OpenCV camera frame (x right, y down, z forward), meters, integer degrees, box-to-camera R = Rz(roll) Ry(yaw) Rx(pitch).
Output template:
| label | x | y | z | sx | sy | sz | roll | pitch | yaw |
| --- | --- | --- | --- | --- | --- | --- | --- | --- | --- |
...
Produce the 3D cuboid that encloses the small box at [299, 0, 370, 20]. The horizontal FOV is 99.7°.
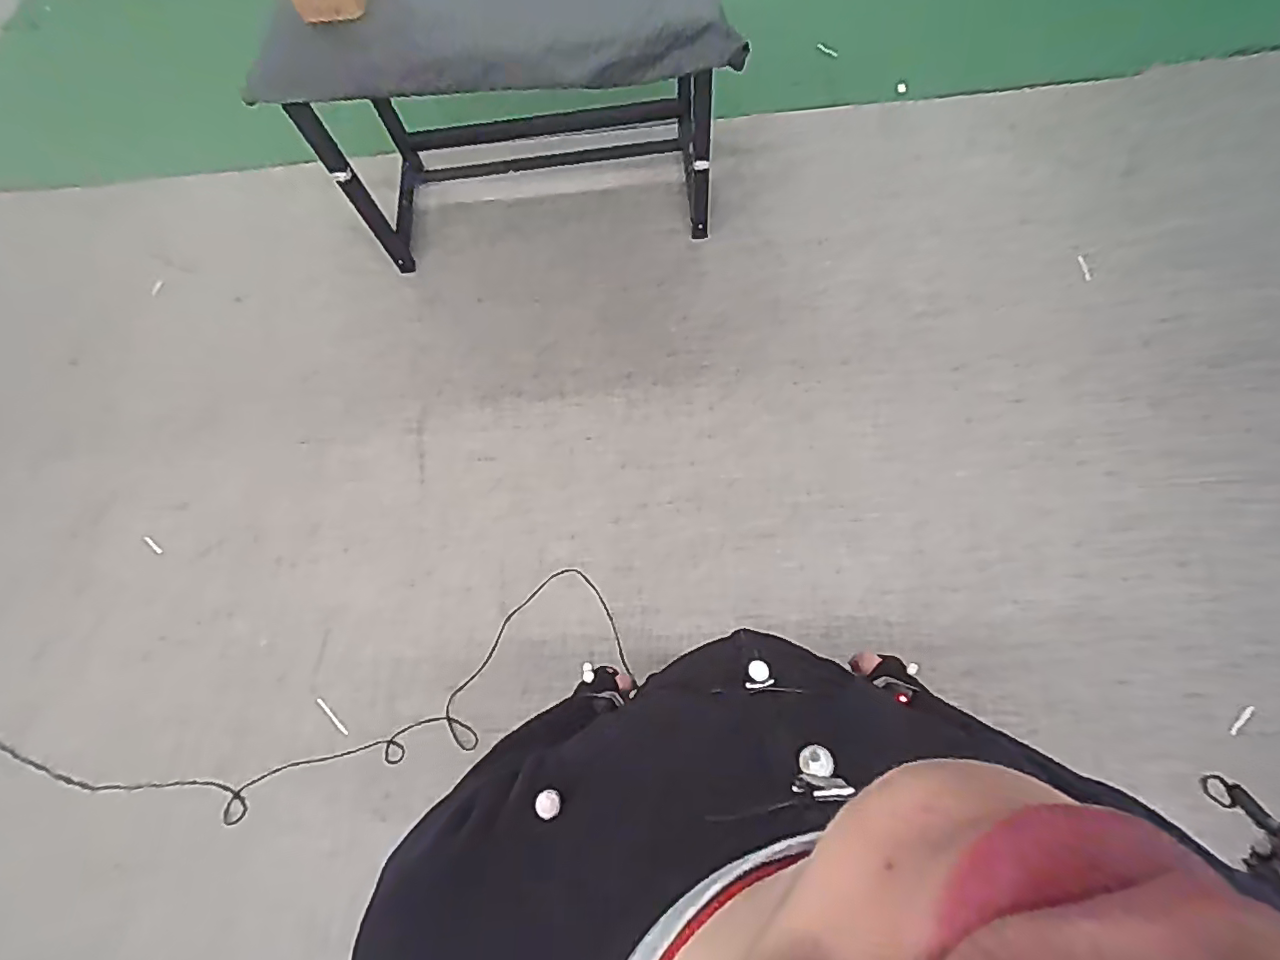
| label | x | y | z | sx | sy | sz | roll | pitch | yaw |
| --- | --- | --- | --- | --- | --- | --- | --- | --- | --- |
| small box | -0.827 | -1.354 | 1.422 | 0.168 | 0.176 | 0.179 | -3 | 70 | 3 |
